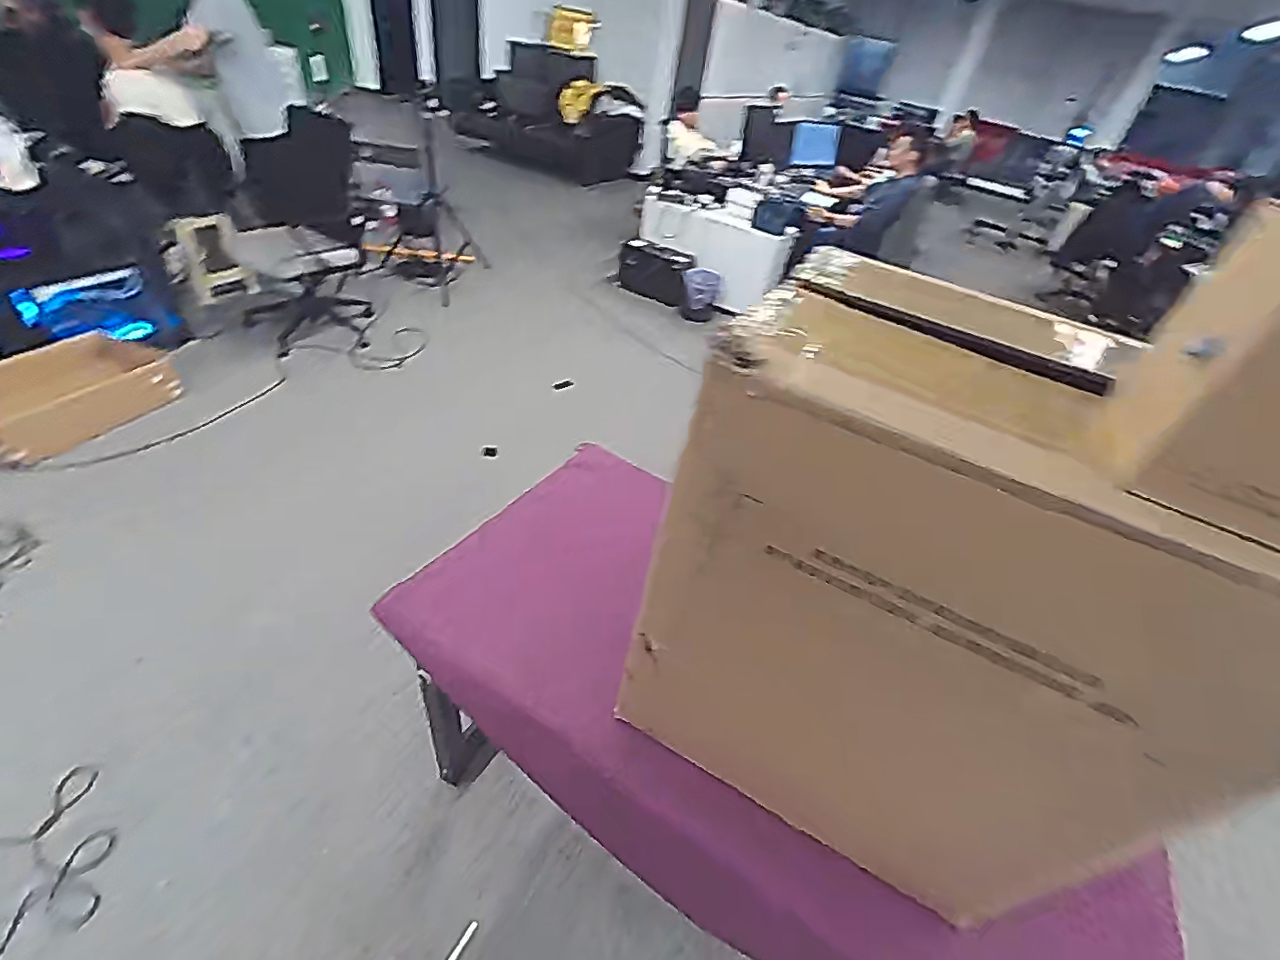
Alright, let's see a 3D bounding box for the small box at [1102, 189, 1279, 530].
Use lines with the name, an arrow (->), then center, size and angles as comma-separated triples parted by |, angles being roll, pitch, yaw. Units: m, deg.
small box -> 0.451, -0.071, 0.353 | 0.168, 0.176, 0.179 | 28, 41, 19
